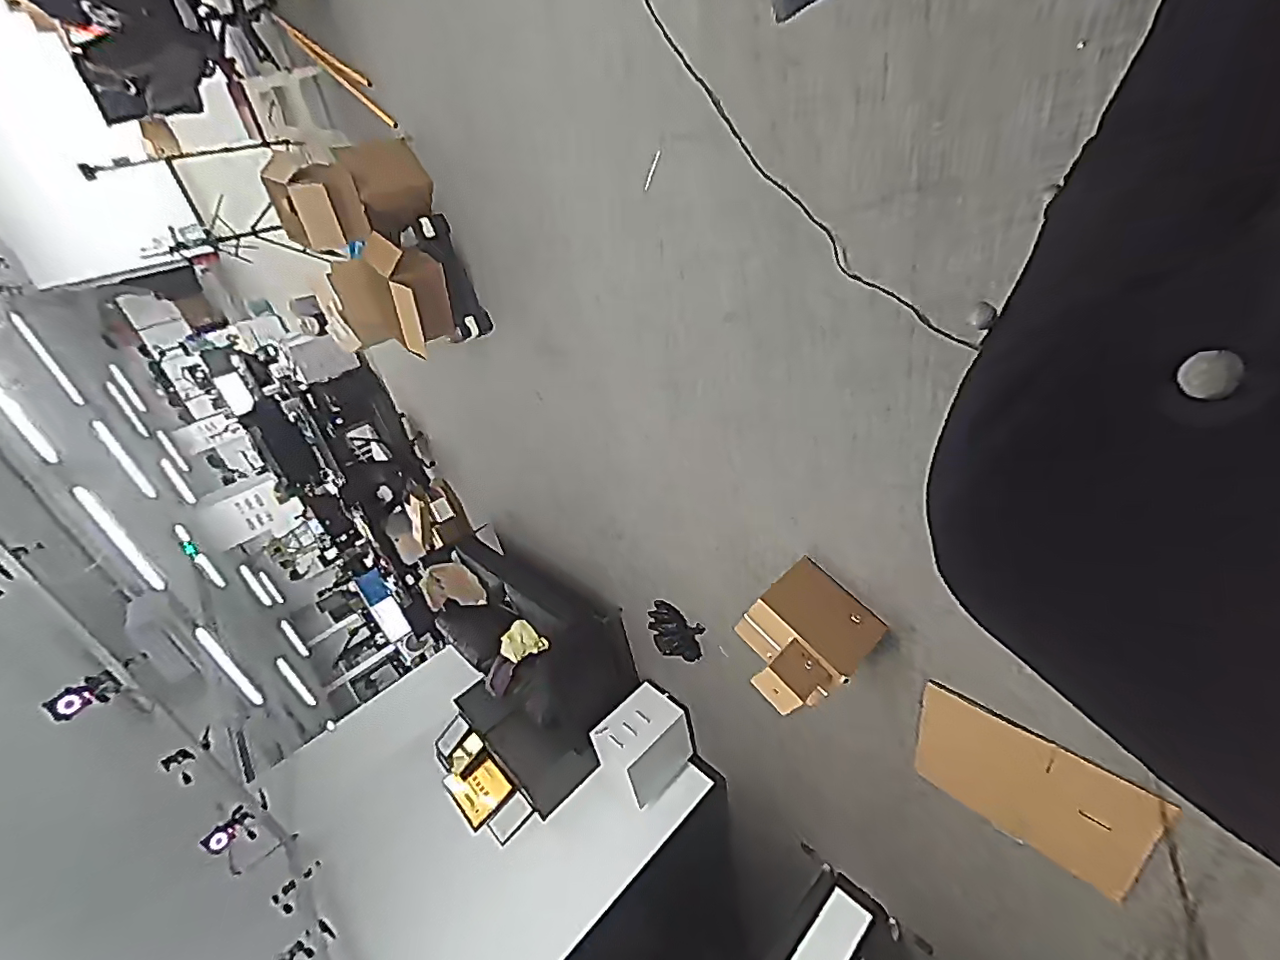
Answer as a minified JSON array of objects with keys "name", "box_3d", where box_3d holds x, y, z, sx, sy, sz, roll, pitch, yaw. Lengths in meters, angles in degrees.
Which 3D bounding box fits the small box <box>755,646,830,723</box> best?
[{"name":"small box","box_3d":[0.552,0.734,1.947,0.168,0.176,0.179,44,144,20]}]
